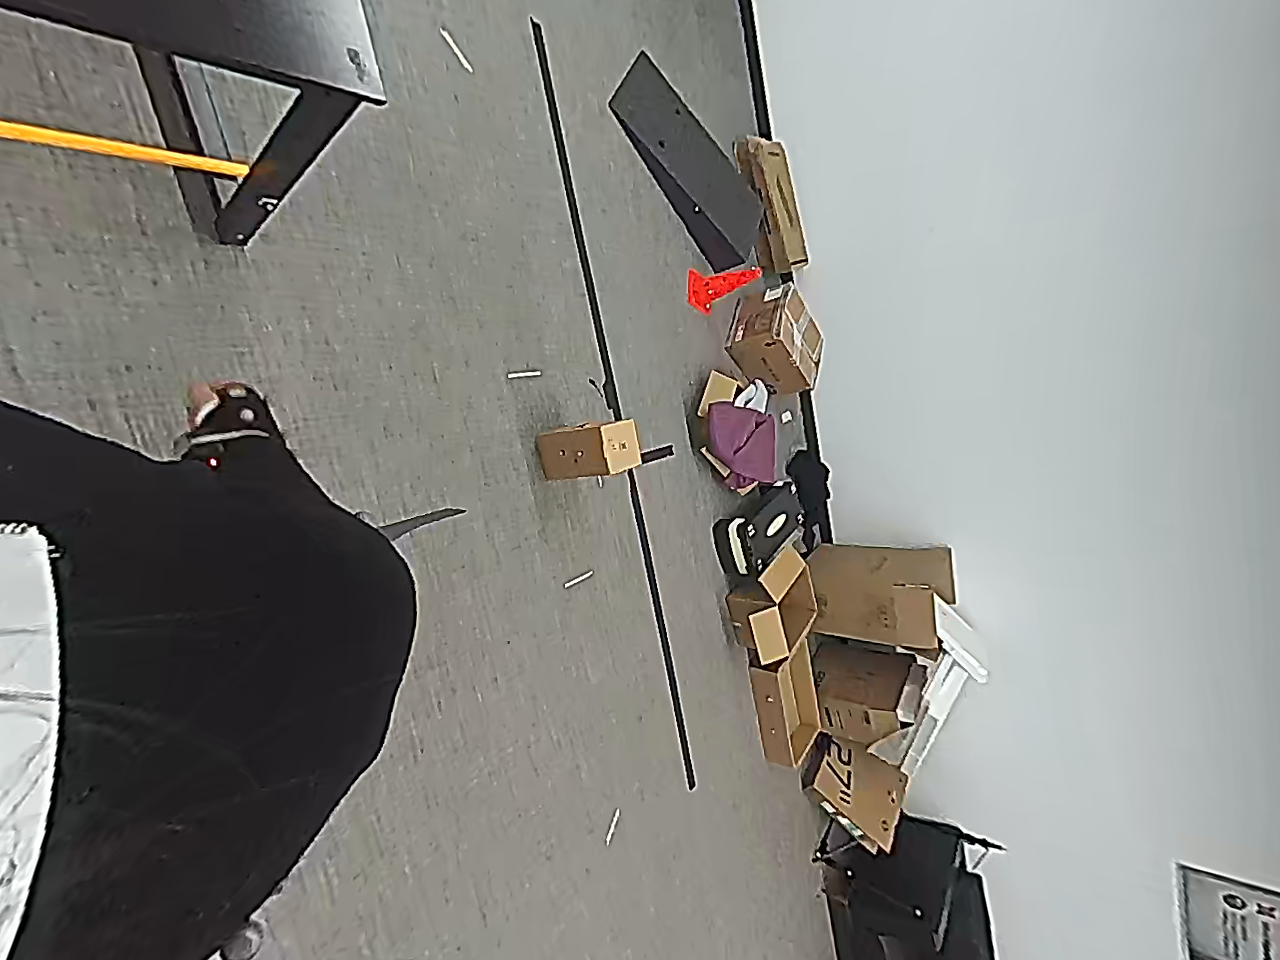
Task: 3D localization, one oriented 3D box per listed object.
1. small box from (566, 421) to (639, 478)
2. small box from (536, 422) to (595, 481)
[{"bbox_3d":[-0.131,-0.106,1.880,0.179,0.176,0.168,-20,102,-49],"label":"small box"},{"bbox_3d":[-0.259,-0.102,1.985,0.168,0.176,0.179,-26,107,-48],"label":"small box"}]
